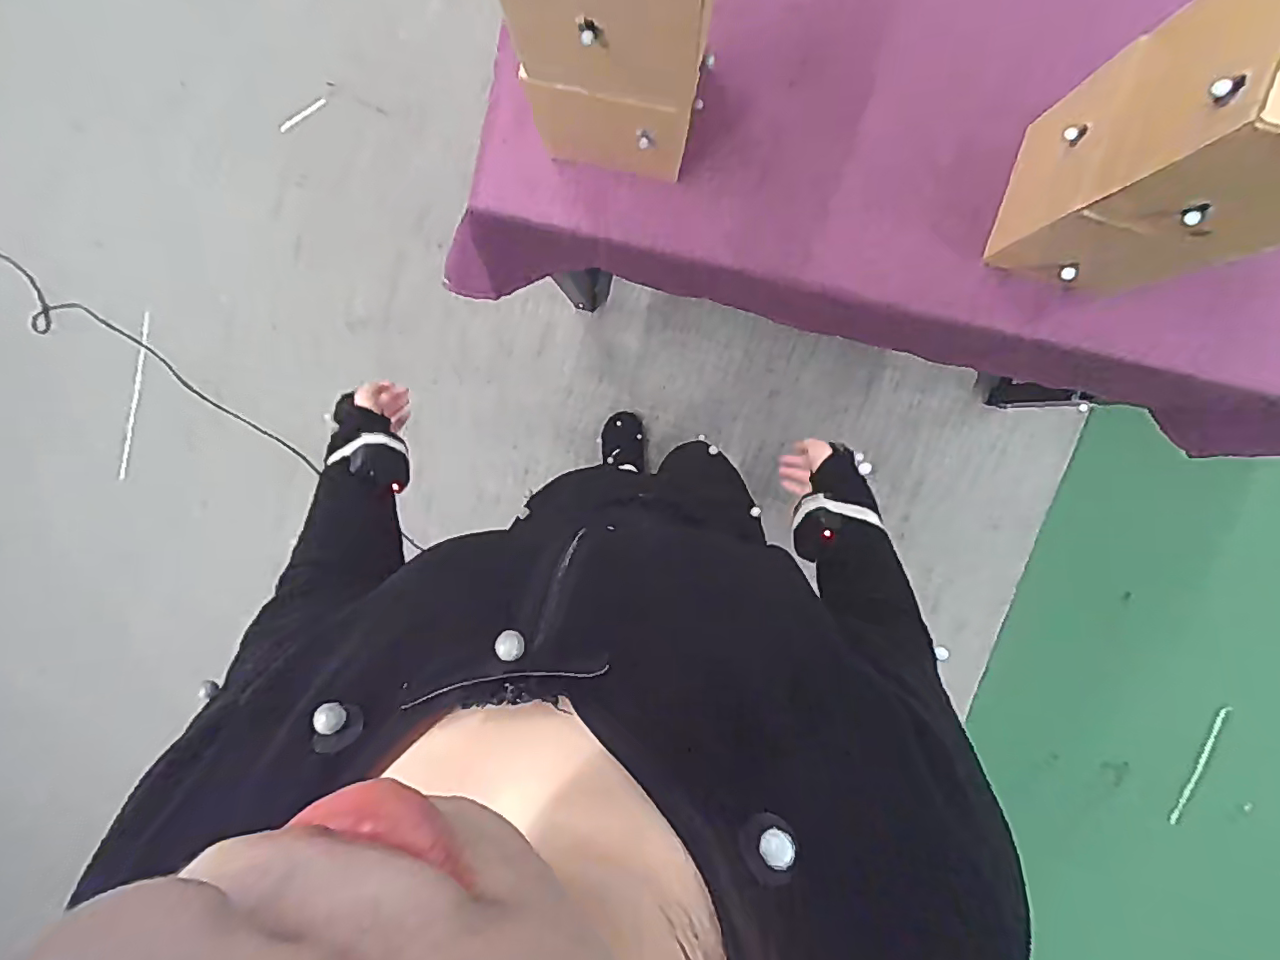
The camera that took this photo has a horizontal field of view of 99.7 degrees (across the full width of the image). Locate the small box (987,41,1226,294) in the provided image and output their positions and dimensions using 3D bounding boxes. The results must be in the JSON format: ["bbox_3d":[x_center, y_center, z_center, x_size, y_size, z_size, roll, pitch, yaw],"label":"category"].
[{"bbox_3d":[0.545,-0.337,0.620,0.168,0.176,0.179,17,97,1],"label":"small box"}]

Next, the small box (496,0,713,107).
[{"bbox_3d":[-0.018,-0.458,0.461,0.179,0.176,0.168,12,97,1],"label":"small box"}]

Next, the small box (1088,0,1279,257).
[{"bbox_3d":[0.542,-0.318,0.458,0.168,0.176,0.179,17,98,0],"label":"small box"}]
